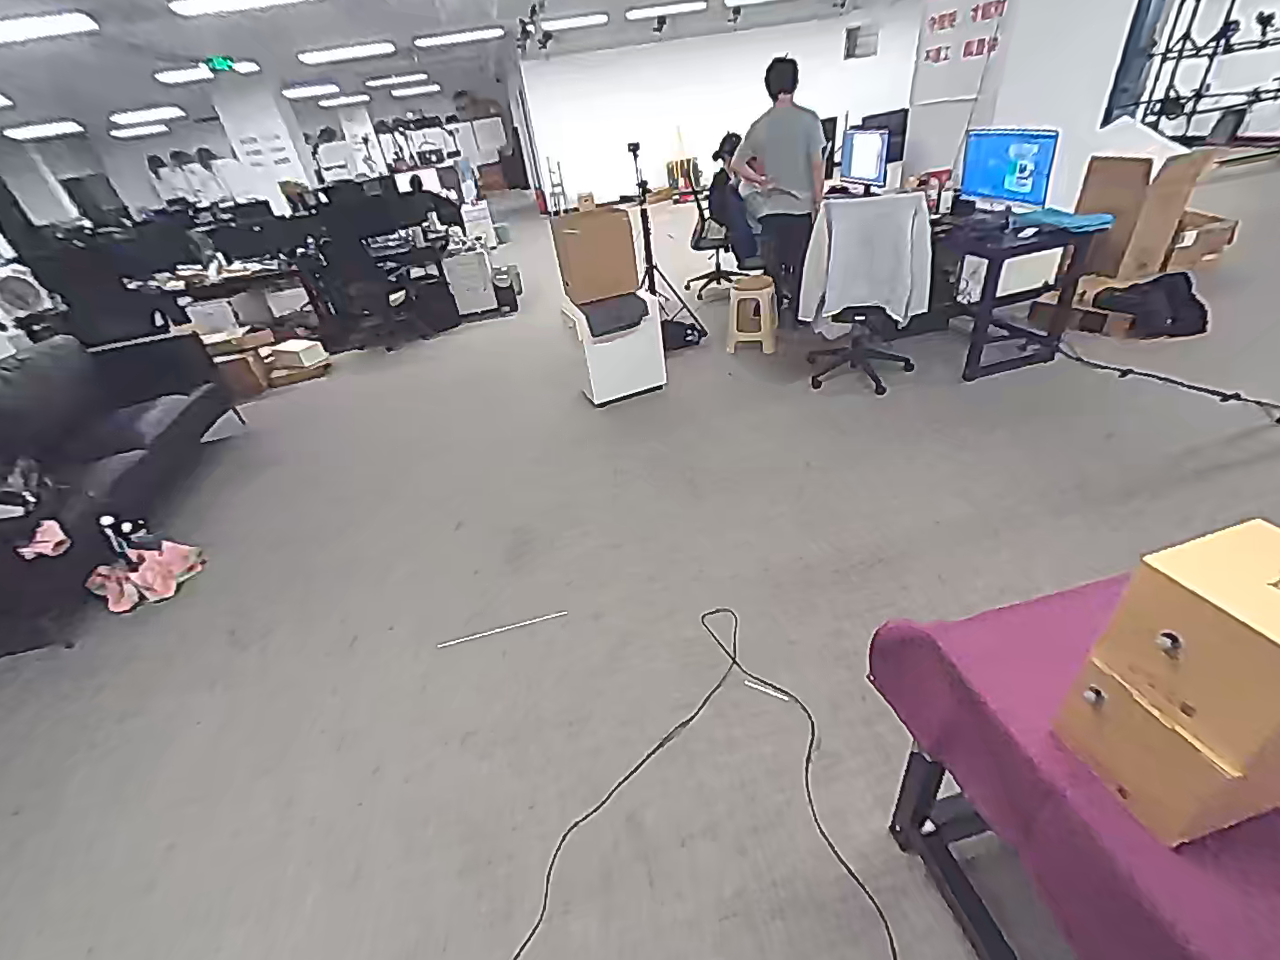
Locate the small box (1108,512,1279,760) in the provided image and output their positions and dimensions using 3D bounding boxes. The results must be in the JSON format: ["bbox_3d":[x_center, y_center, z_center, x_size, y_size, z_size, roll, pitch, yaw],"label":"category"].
[{"bbox_3d":[0.661,0.165,0.582,0.179,0.176,0.168,-14,35,-10],"label":"small box"}]
